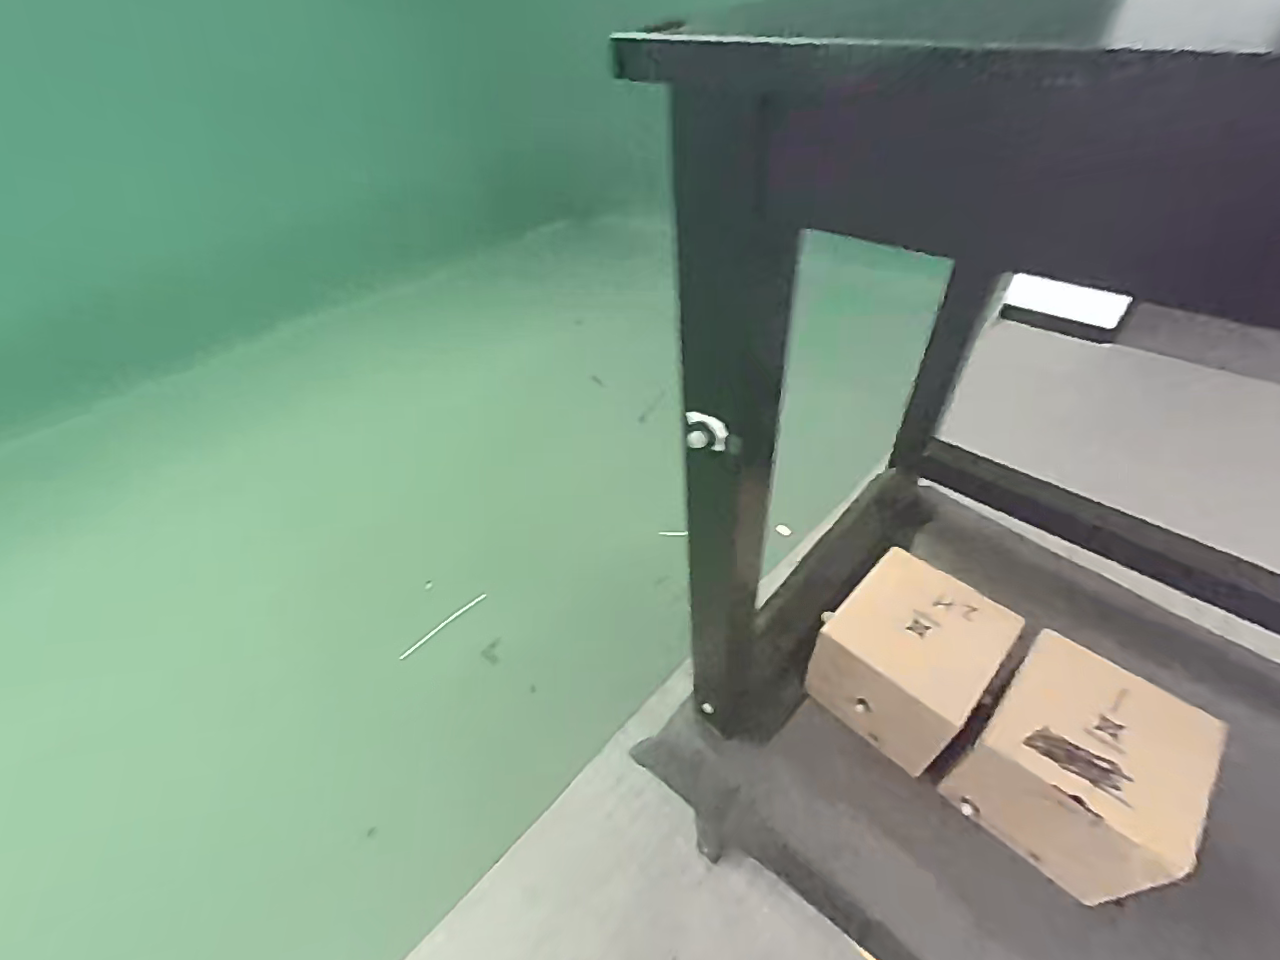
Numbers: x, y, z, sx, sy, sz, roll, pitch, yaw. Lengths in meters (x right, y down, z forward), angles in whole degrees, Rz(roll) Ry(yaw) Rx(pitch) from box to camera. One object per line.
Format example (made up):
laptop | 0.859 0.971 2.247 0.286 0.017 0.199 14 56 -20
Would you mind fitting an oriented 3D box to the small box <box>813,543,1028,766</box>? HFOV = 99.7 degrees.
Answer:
small box | 0.339 0.221 0.687 0.179 0.176 0.168 -36 53 -26
